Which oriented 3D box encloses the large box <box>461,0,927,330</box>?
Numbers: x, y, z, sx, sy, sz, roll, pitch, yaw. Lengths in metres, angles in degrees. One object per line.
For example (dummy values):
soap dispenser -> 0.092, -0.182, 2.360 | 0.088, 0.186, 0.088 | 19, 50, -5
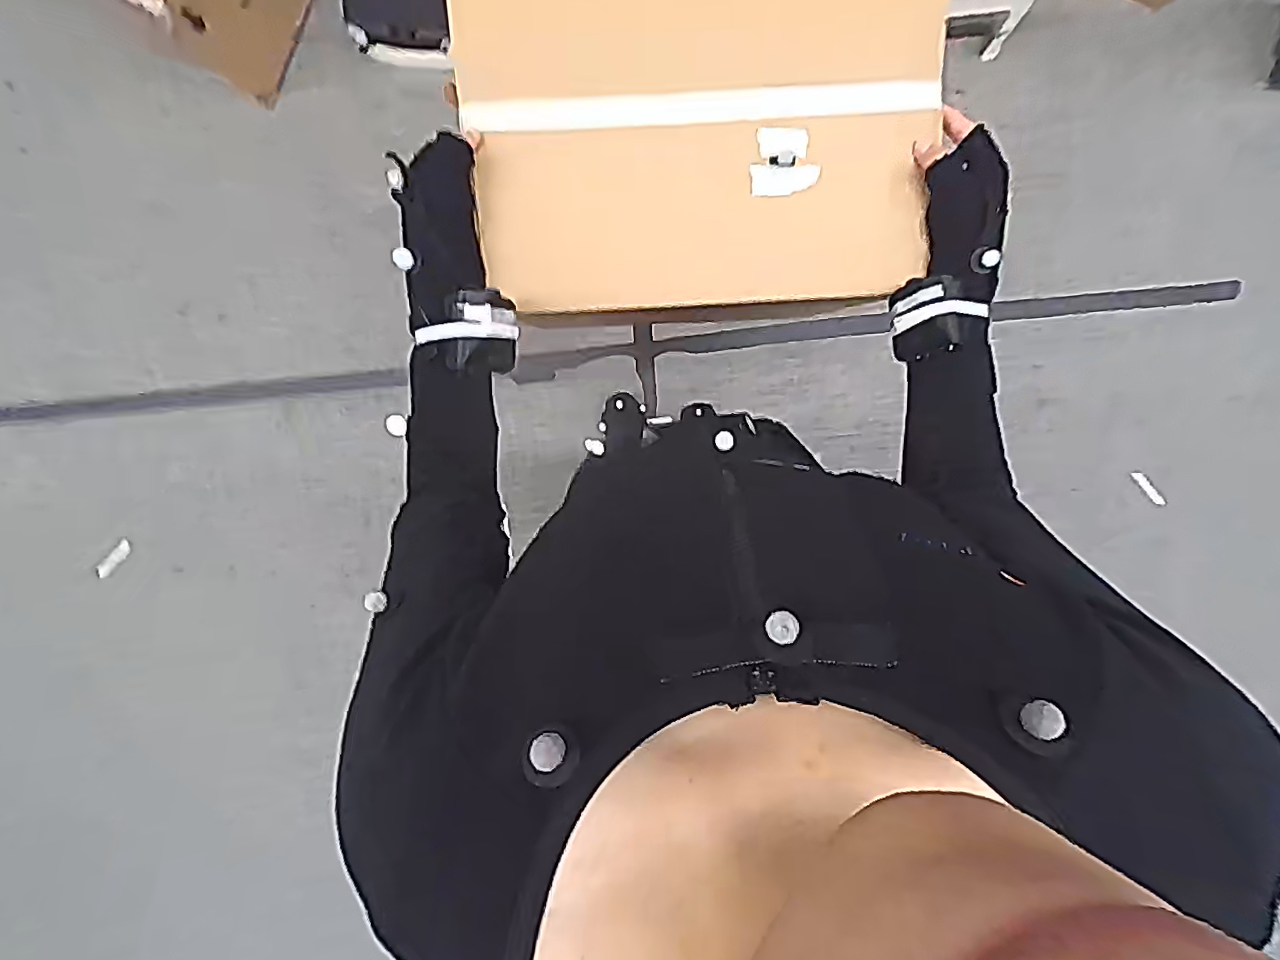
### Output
large box -> 0.046, -0.351, 0.623 | 0.408, 0.320, 0.320 | -3, 104, -2
